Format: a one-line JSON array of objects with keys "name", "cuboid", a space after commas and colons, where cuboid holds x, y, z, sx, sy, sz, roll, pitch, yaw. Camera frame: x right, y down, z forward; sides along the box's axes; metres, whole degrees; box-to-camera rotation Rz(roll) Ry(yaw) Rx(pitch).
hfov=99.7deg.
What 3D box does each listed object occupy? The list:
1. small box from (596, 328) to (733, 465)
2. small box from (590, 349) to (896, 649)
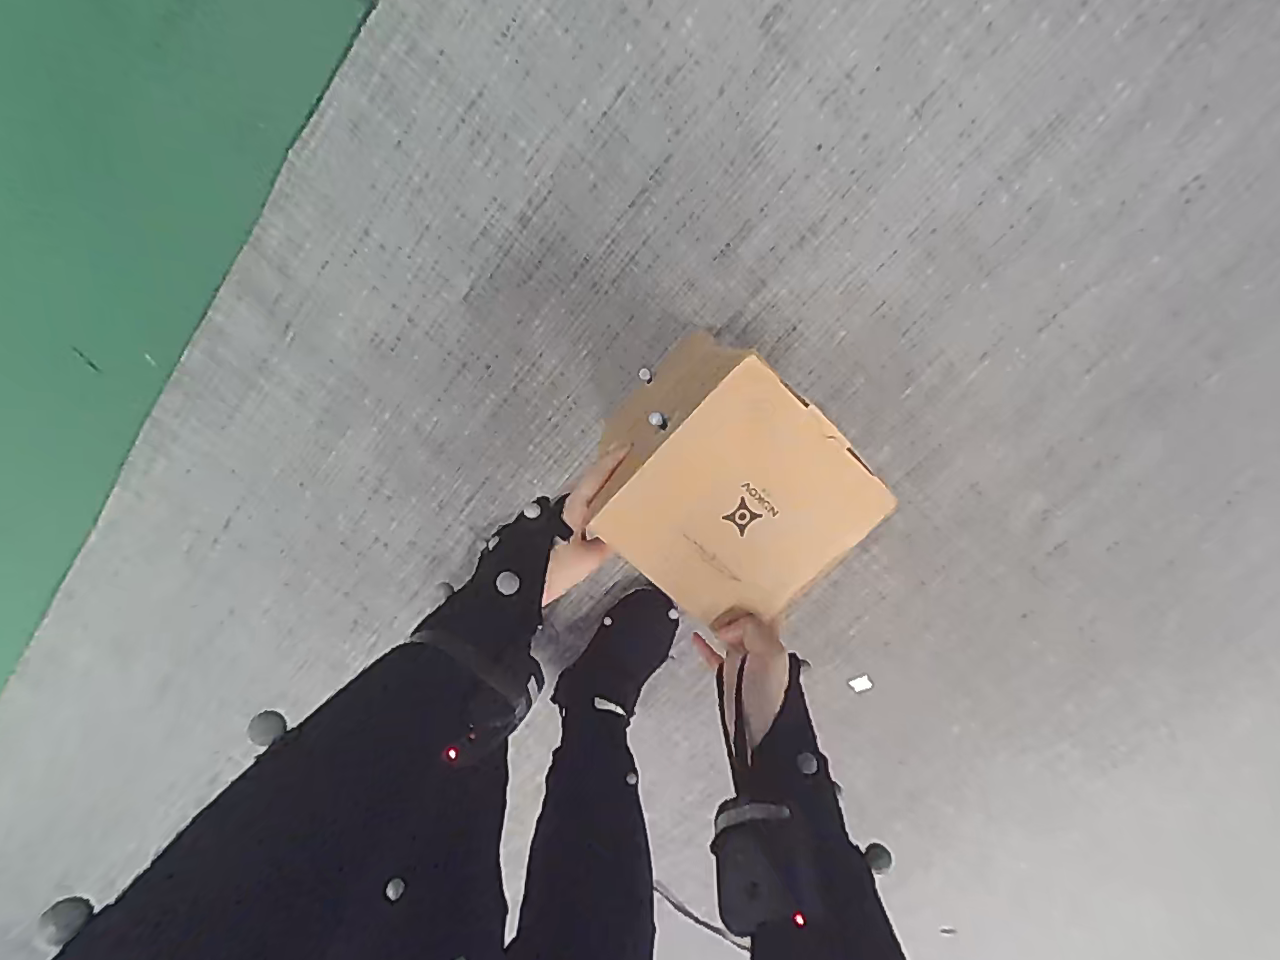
[{"name": "small box", "cuboid": [0.071, -0.056, 0.640, 0.168, 0.176, 0.179, 42, 106, -14]}, {"name": "small box", "cuboid": [0.072, 0.002, 0.477, 0.168, 0.176, 0.179, 41, 99, -11]}]
